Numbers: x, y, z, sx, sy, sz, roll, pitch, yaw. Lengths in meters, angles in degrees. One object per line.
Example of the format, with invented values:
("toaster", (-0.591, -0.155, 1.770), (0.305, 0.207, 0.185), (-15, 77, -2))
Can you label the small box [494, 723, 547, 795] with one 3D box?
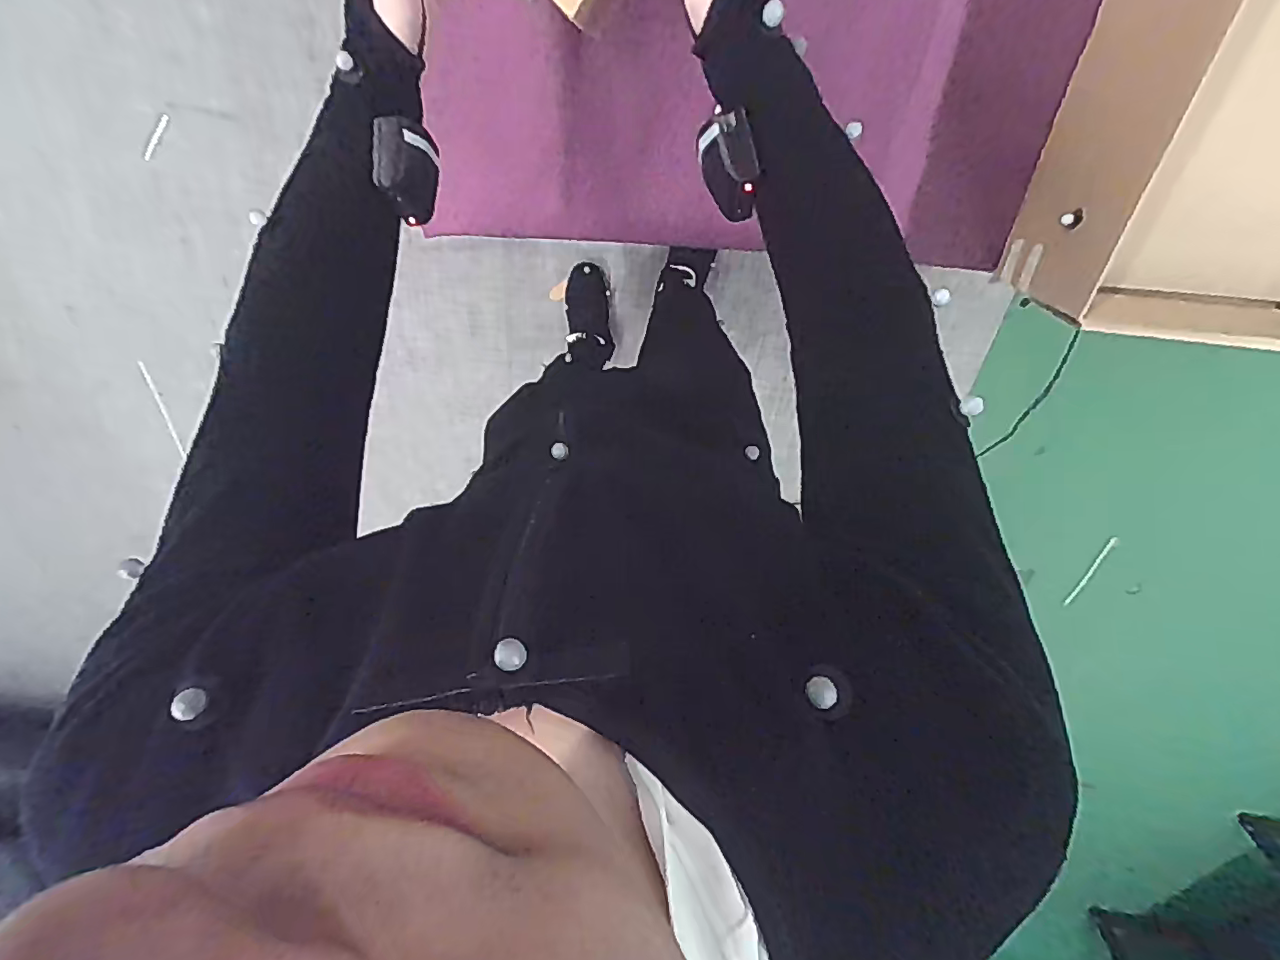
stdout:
("small box", (-0.453, 1.051, 2.046), (0.168, 0.176, 0.179), (12, 122, -2))

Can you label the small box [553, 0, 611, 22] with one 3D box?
("small box", (-0.062, -0.523, 0.441), (0.179, 0.176, 0.168), (37, 119, -21))
